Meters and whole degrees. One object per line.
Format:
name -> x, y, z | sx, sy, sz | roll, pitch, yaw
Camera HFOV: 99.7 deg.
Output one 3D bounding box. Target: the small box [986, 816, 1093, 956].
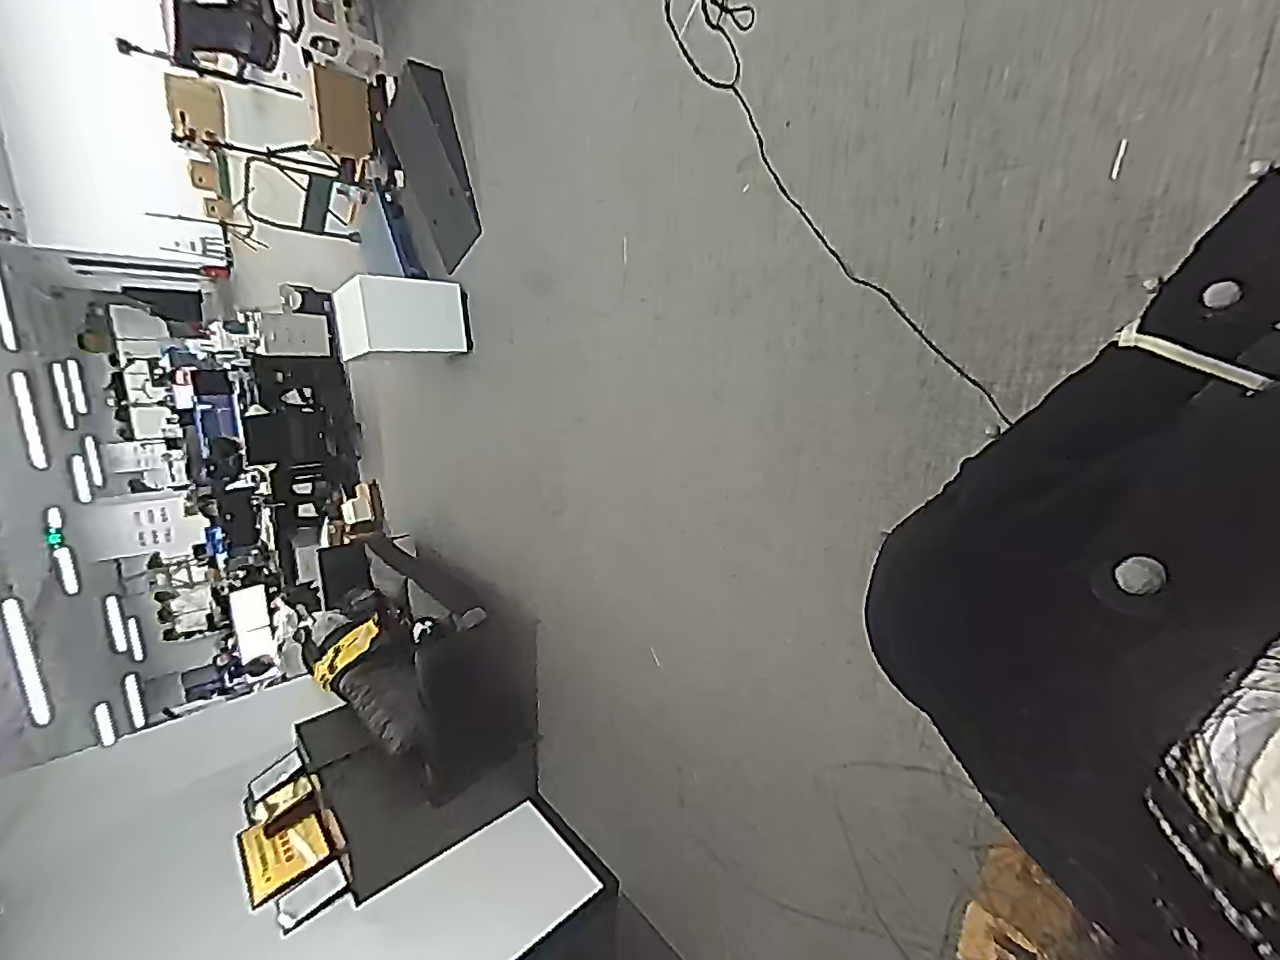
small box -> 0.982, 0.985, 1.328 | 0.168, 0.176, 0.179 | 15, 109, 45
